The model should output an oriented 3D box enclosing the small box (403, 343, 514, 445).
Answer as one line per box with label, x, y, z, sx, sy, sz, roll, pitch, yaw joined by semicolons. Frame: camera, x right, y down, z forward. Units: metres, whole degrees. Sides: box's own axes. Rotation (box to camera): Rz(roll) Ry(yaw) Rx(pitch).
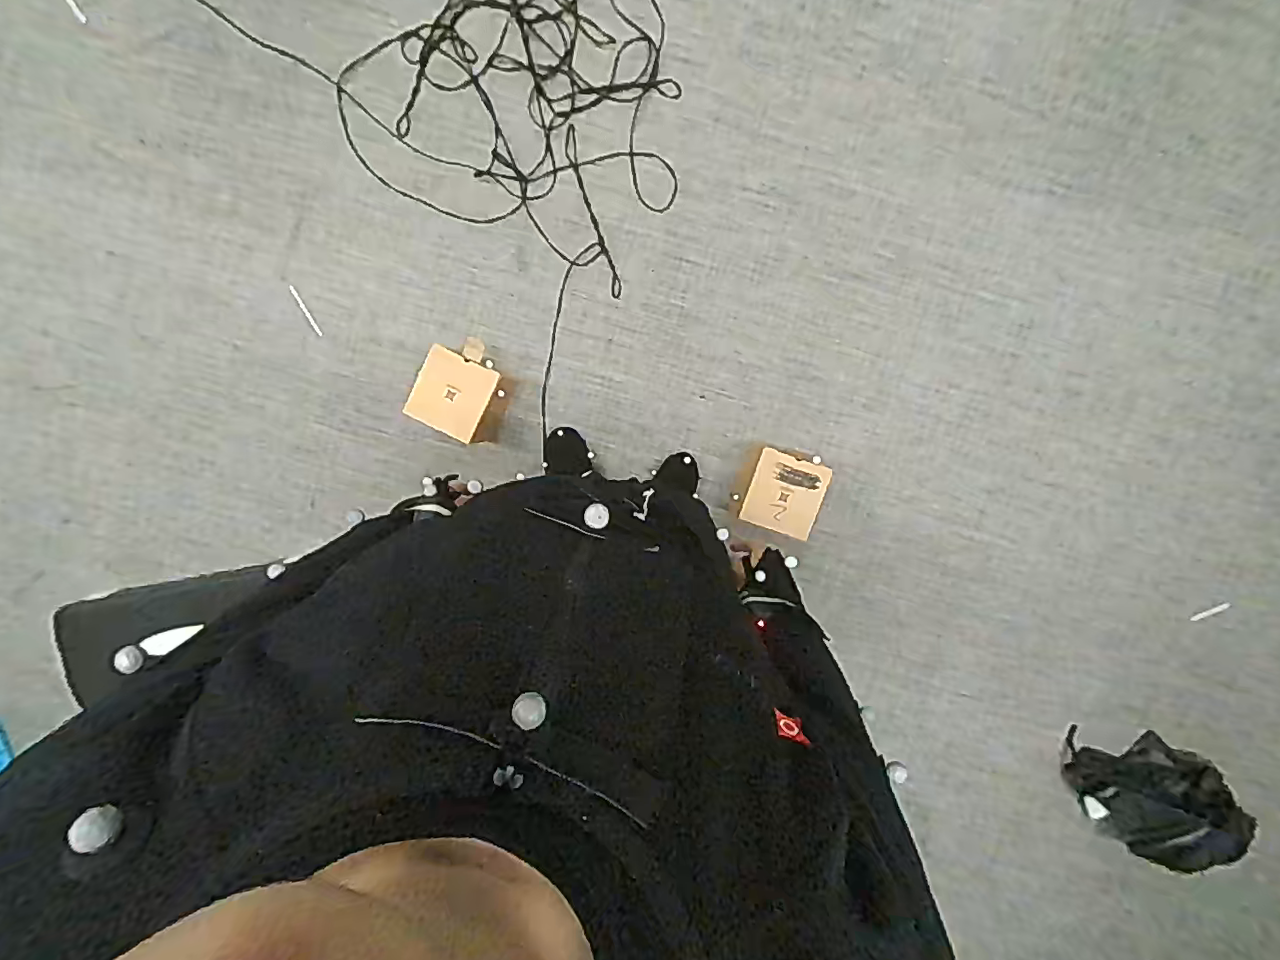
small box;-0.415;-0.196;1.270;0.168;0.176;0.179;26;94;-2
